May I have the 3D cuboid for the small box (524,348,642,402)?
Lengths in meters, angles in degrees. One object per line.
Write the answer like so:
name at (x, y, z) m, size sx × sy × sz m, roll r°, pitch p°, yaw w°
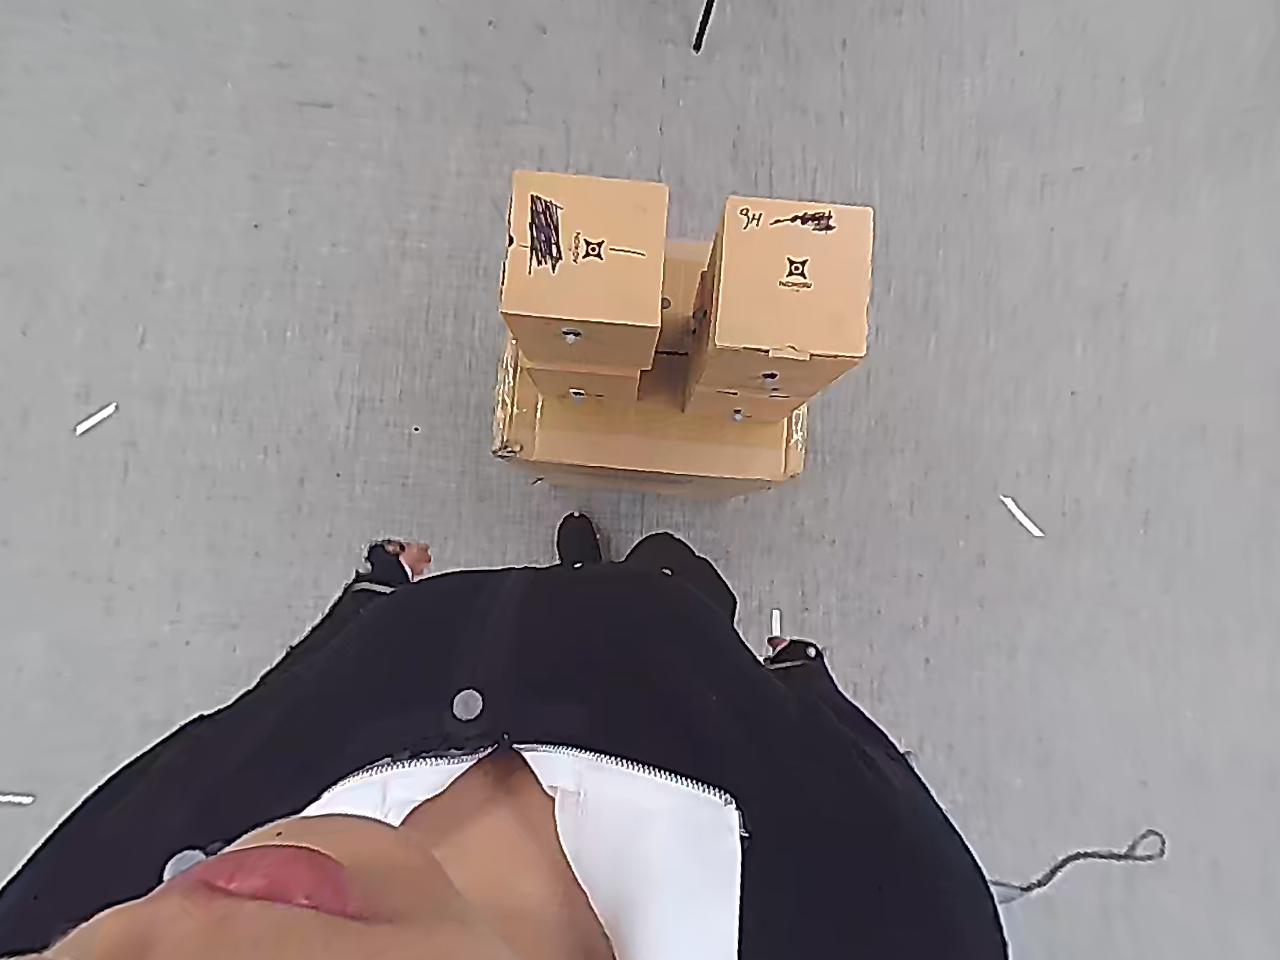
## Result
small box at (-0.077, -0.230, 0.834) m, size 0.168 × 0.176 × 0.179 m, roll 4°, pitch 86°, yaw -1°

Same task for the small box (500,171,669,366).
small box at (-0.063, -0.248, 0.672) m, size 0.179 × 0.176 × 0.168 m, roll 4°, pitch 85°, yaw -2°

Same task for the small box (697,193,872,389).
small box at (0.166, -0.218, 0.672) m, size 0.168 × 0.176 × 0.179 m, roll 5°, pitch 86°, yaw -1°

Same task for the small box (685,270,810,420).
small box at (0.160, -0.199, 0.836) m, size 0.168 × 0.176 × 0.179 m, roll 4°, pitch 85°, yaw 1°
